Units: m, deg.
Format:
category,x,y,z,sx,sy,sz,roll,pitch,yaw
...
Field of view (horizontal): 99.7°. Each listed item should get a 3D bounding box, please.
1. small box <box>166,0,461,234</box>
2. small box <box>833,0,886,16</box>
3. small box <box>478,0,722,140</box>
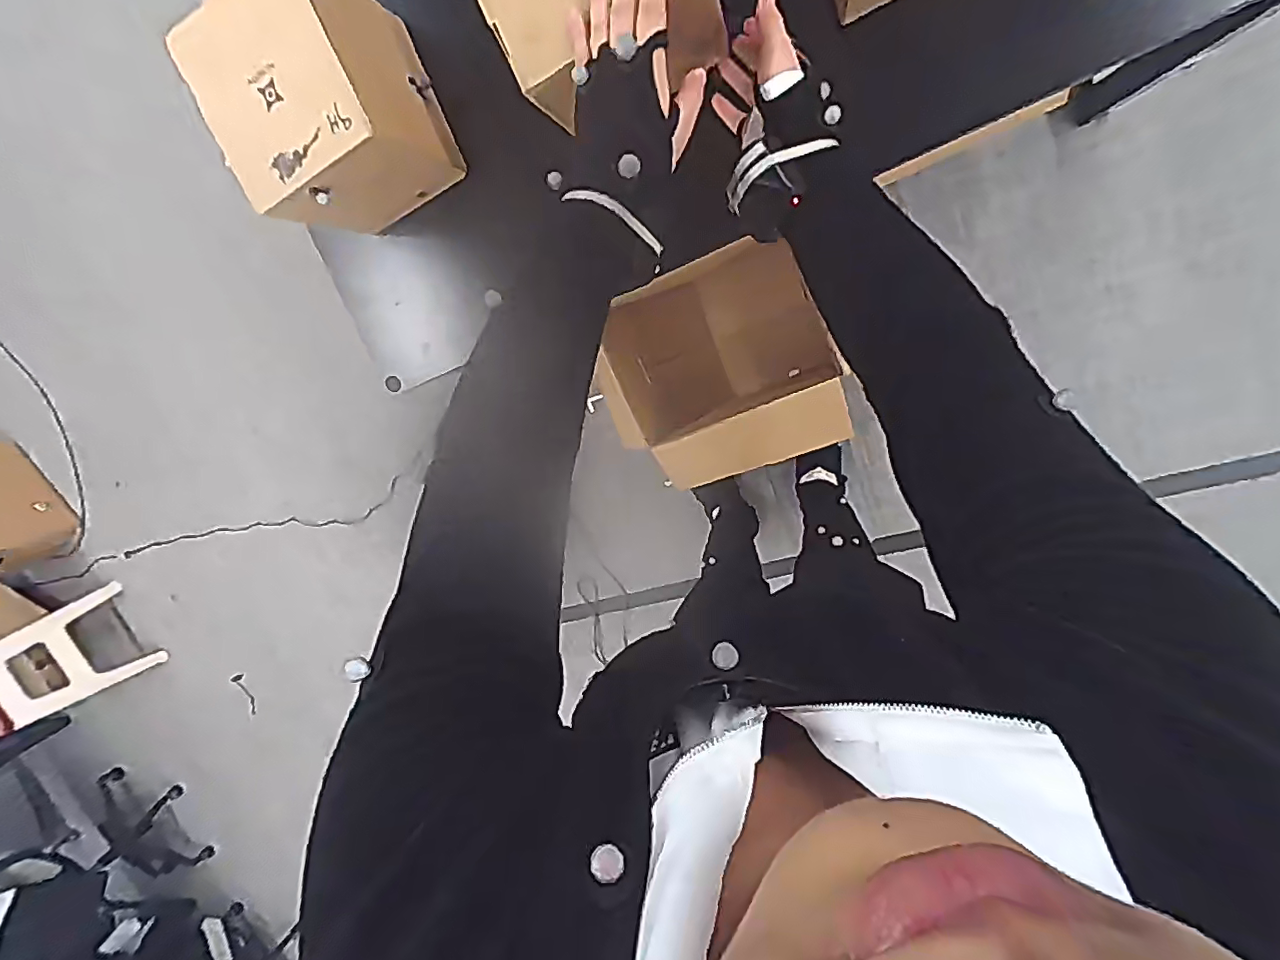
category,x,y,z,sx,sy,sz,roll,pitch,yaw
small box,-0.331,-0.392,0.580,0.168,0.176,0.179,-19,101,19
small box,0.220,-0.505,0.398,0.179,0.176,0.168,-17,102,18
small box,-0.039,-0.448,0.488,0.179,0.176,0.168,-21,102,19
